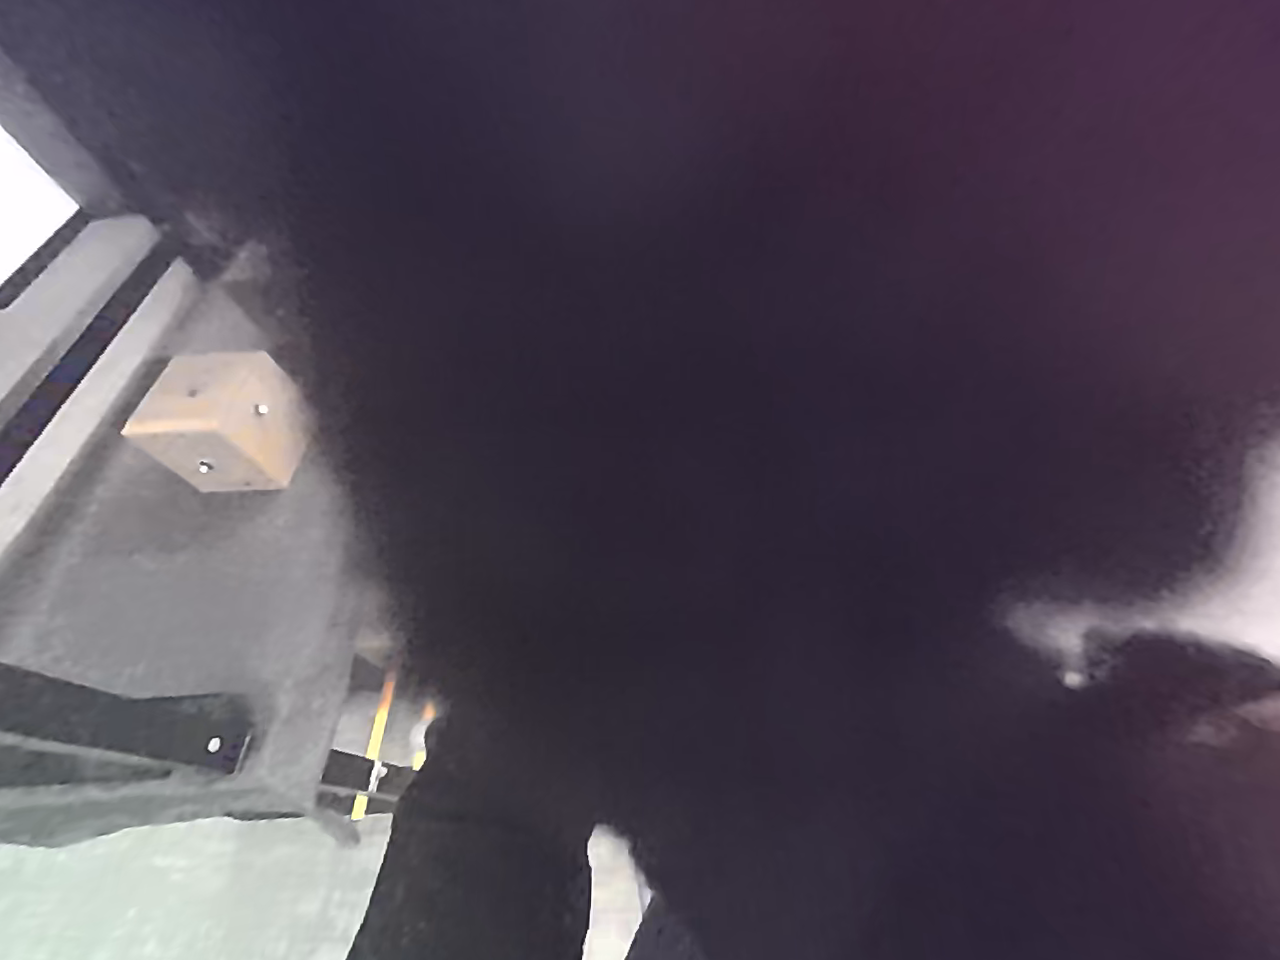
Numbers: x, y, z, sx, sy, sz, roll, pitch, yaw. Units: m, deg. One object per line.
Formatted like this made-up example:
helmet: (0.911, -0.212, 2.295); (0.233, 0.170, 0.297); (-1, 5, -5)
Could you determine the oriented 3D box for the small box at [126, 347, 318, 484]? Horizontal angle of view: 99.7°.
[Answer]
small box: (-0.697, -0.104, 0.931); (0.168, 0.176, 0.179); (-1, 56, 5)
